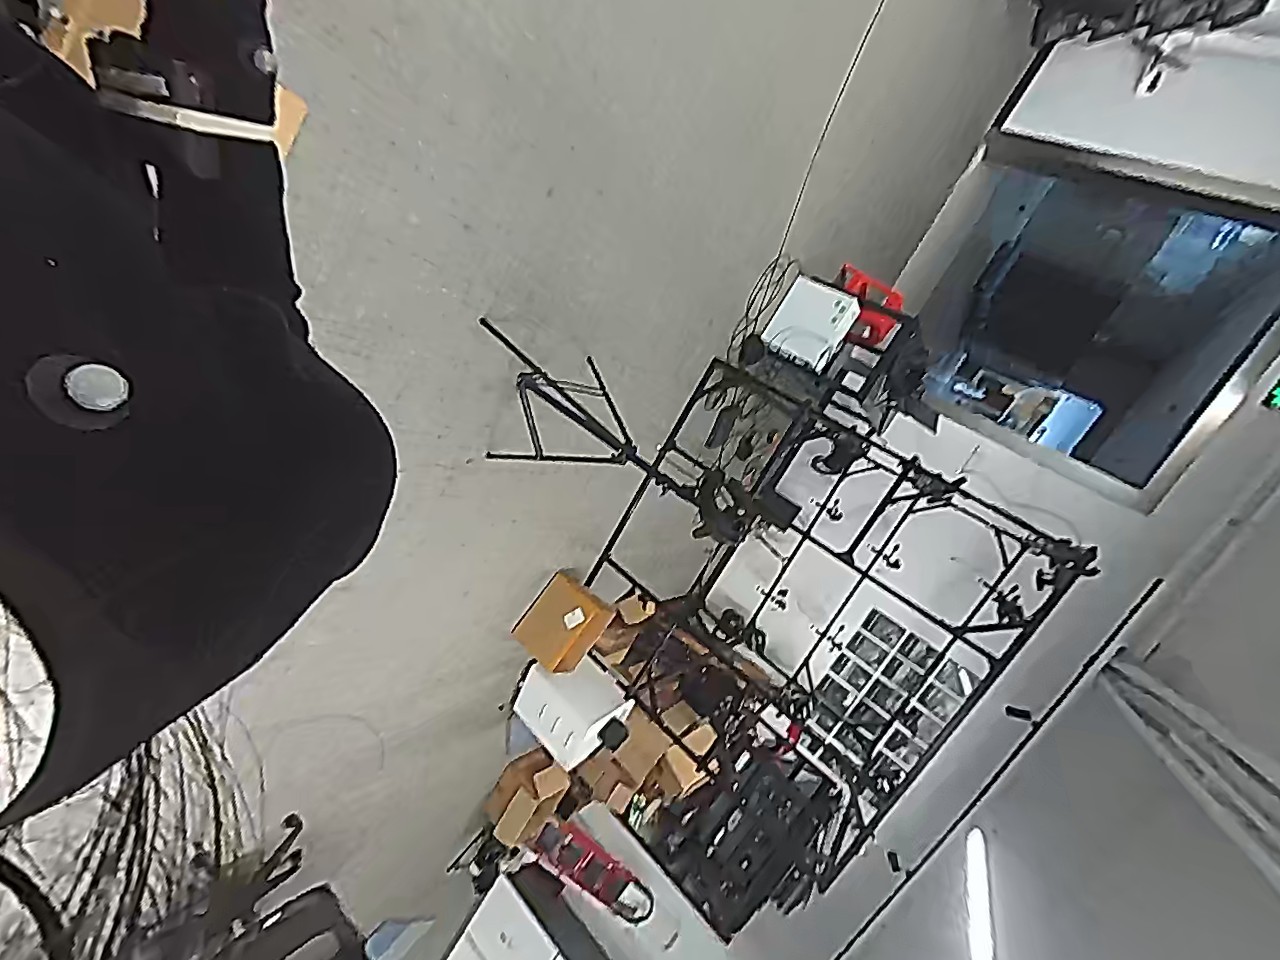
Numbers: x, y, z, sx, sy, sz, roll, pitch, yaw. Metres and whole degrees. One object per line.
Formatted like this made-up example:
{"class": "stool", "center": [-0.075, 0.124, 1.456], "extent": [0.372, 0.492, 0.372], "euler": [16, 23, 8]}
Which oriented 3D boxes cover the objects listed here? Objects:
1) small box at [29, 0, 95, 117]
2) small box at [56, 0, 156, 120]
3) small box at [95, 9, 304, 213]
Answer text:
{"class": "small box", "center": [-0.890, -0.701, 0.923], "extent": [0.179, 0.176, 0.168], "euler": [-59, 153, 7]}
{"class": "small box", "center": [-0.765, -0.618, 0.855], "extent": [0.179, 0.176, 0.168], "euler": [-58, 152, 4]}
{"class": "small box", "center": [-0.643, -0.535, 0.788], "extent": [0.179, 0.176, 0.168], "euler": [-59, 152, 7]}
